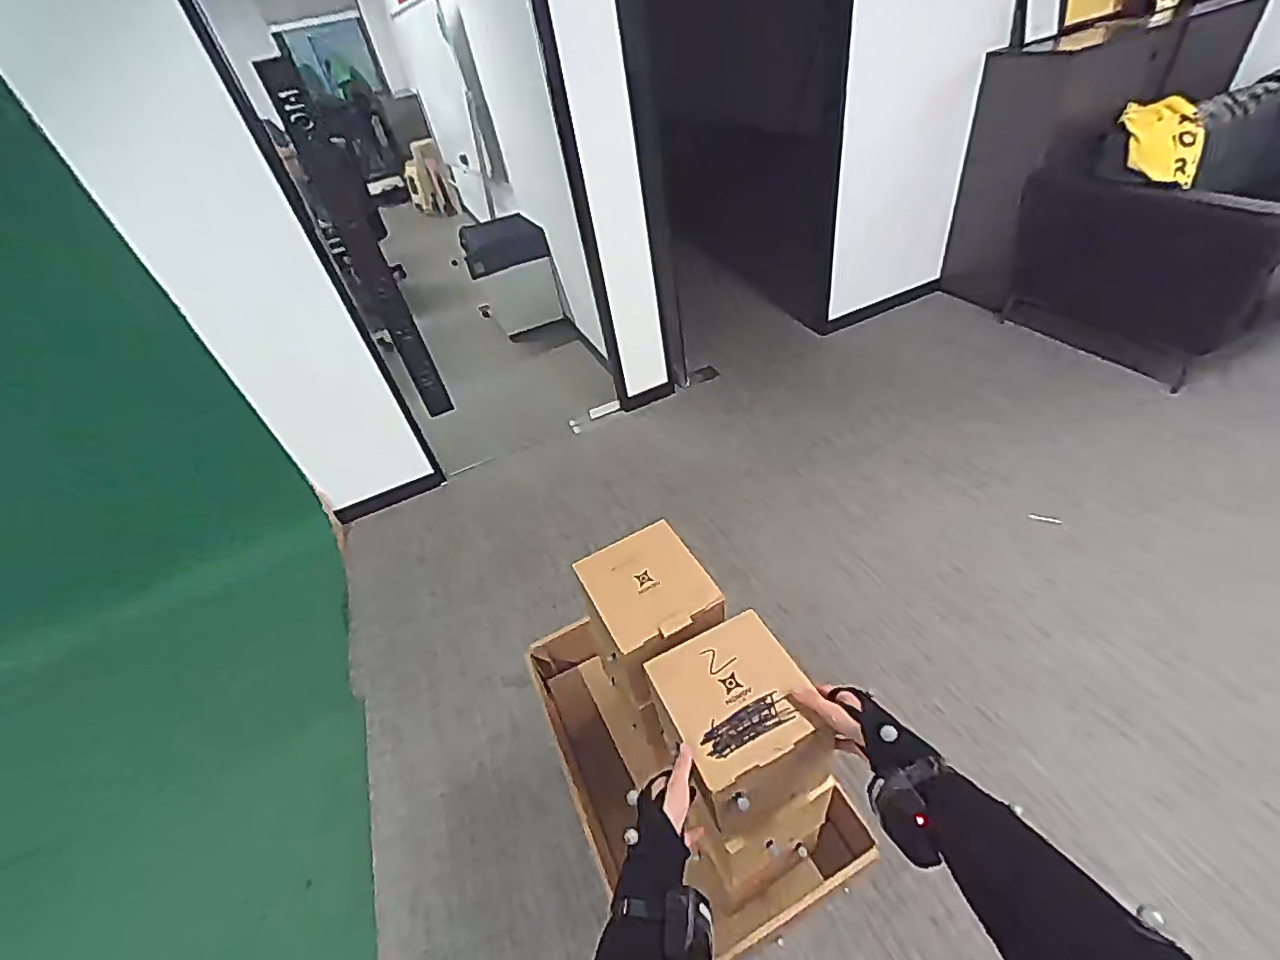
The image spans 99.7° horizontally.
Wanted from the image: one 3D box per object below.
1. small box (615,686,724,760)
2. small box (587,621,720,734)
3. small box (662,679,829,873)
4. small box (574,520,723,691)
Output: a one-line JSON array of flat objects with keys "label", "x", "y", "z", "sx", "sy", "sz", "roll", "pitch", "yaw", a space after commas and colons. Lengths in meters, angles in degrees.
[{"label": "small box", "x": 0.054, "y": 0.427, "z": 1.076, "sx": 0.168, "sy": 0.176, "sz": 0.179, "roll": -25, "pitch": 48, "yaw": -17}, {"label": "small box", "x": 0.030, "y": 0.319, "z": 0.955, "sx": 0.168, "sy": 0.176, "sz": 0.179, "roll": -27, "pitch": 47, "yaw": -17}, {"label": "small box", "x": 0.153, "y": 0.439, "z": 0.796, "sx": 0.168, "sy": 0.176, "sz": 0.179, "roll": -24, "pitch": 43, "yaw": -14}, {"label": "small box", "x": 0.017, "y": 0.201, "z": 0.843, "sx": 0.168, "sy": 0.176, "sz": 0.179, "roll": -24, "pitch": 46, "yaw": -15}]
